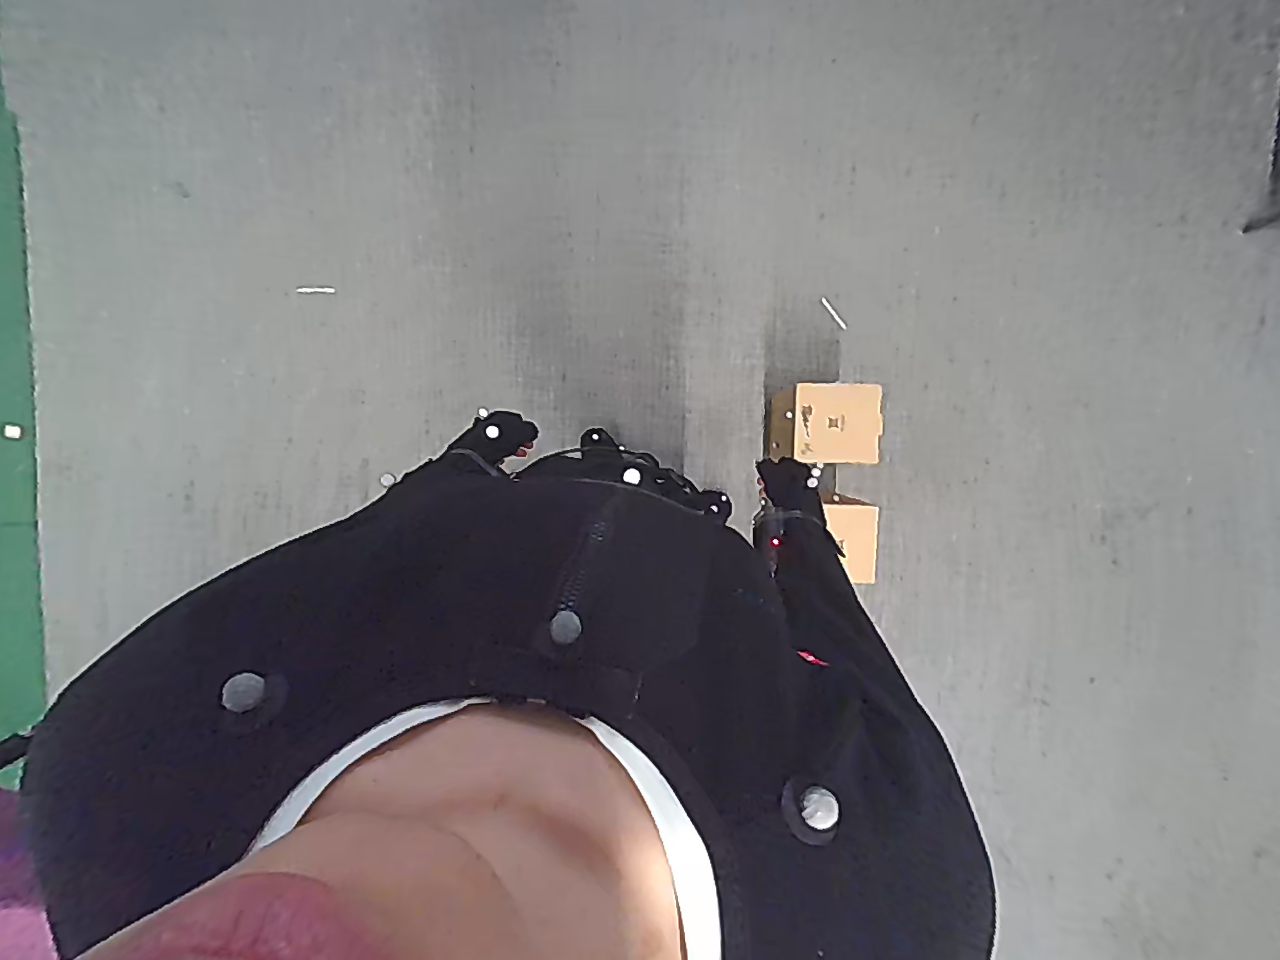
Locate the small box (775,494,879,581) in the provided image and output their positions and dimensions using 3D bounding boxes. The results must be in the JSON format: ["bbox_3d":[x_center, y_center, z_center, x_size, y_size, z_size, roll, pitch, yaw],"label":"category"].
[{"bbox_3d":[0.410,0.121,1.207,0.179,0.176,0.168,2,94,4],"label":"small box"}]

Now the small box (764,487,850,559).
[{"bbox_3d":[0.415,0.107,1.372,0.179,0.176,0.168,1,94,3],"label":"small box"}]
